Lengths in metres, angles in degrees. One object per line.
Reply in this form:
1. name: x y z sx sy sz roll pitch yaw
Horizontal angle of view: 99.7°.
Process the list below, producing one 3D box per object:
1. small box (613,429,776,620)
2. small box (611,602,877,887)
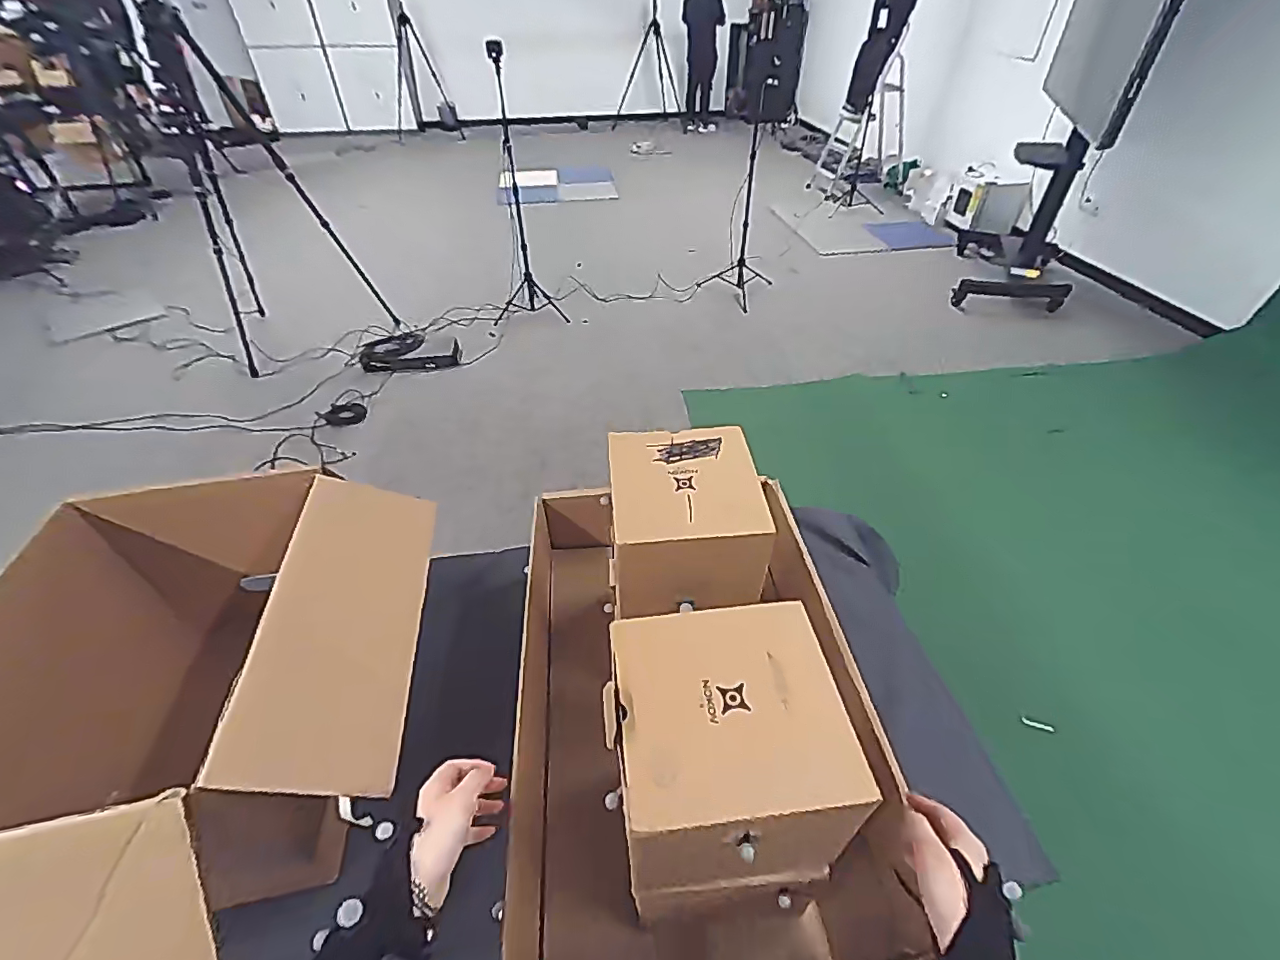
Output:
1. small box: 0.052 0.058 0.659 0.168 0.176 0.179 -4 45 -3
2. small box: 0.071 0.231 0.475 0.179 0.176 0.168 -5 42 -5
